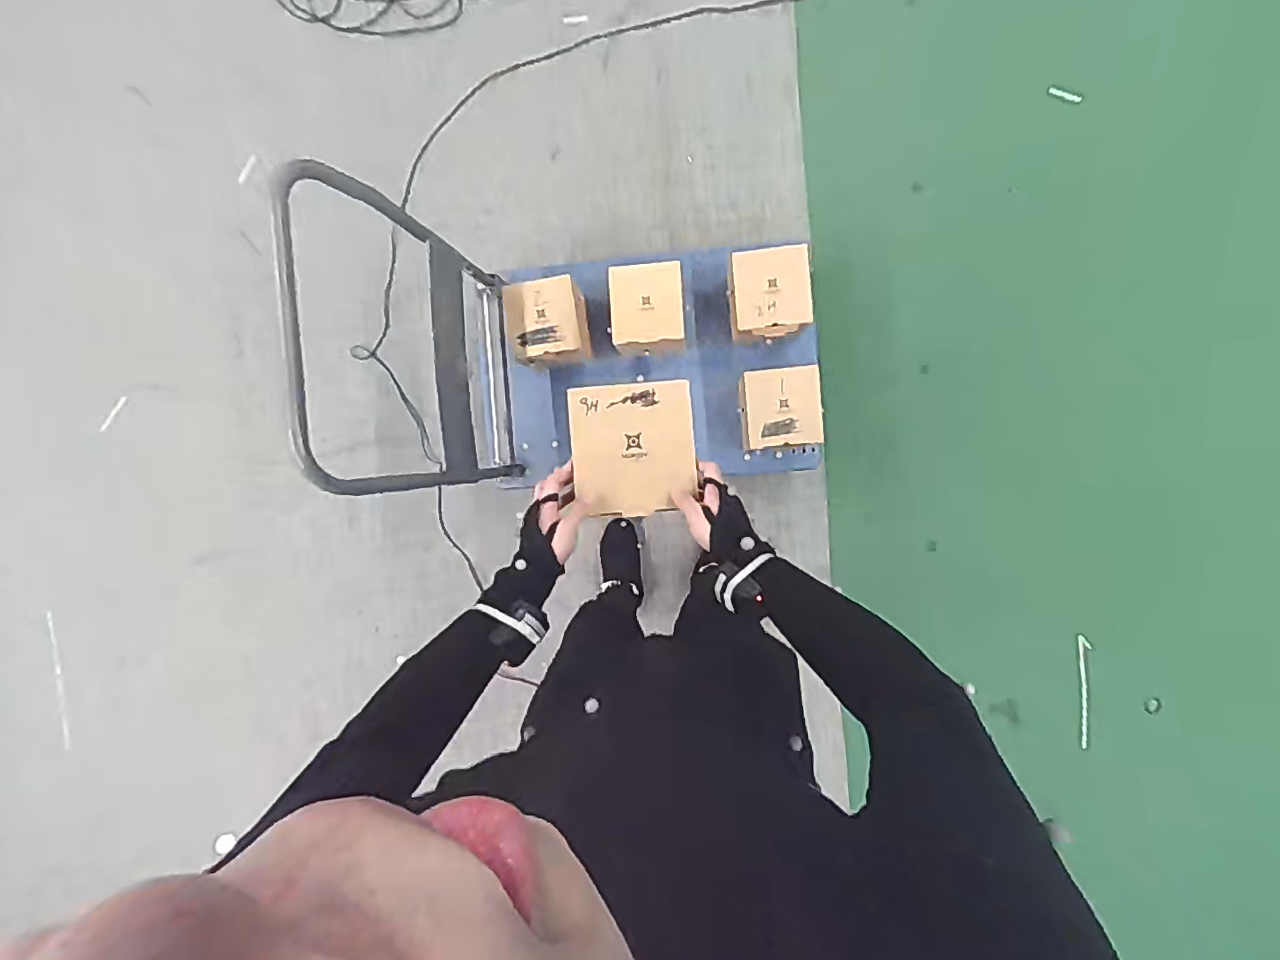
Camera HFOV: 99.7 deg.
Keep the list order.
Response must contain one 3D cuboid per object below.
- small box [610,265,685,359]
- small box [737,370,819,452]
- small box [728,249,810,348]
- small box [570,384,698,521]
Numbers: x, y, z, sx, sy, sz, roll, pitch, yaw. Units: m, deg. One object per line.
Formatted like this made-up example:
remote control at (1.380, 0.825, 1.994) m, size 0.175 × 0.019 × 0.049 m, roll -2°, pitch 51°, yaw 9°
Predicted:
small box at (0.022, -0.400, 1.311) m, size 0.168 × 0.176 × 0.179 m, roll -3°, pitch 93°, yaw 5°
small box at (0.328, -0.159, 1.305) m, size 0.168 × 0.176 × 0.179 m, roll -4°, pitch 91°, yaw 5°
small box at (0.299, -0.422, 1.281) m, size 0.168 × 0.176 × 0.179 m, roll -4°, pitch 92°, yaw 7°
small box at (-0.008, -0.037, 0.796) m, size 0.168 × 0.176 × 0.179 m, roll -4°, pitch 89°, yaw -1°
